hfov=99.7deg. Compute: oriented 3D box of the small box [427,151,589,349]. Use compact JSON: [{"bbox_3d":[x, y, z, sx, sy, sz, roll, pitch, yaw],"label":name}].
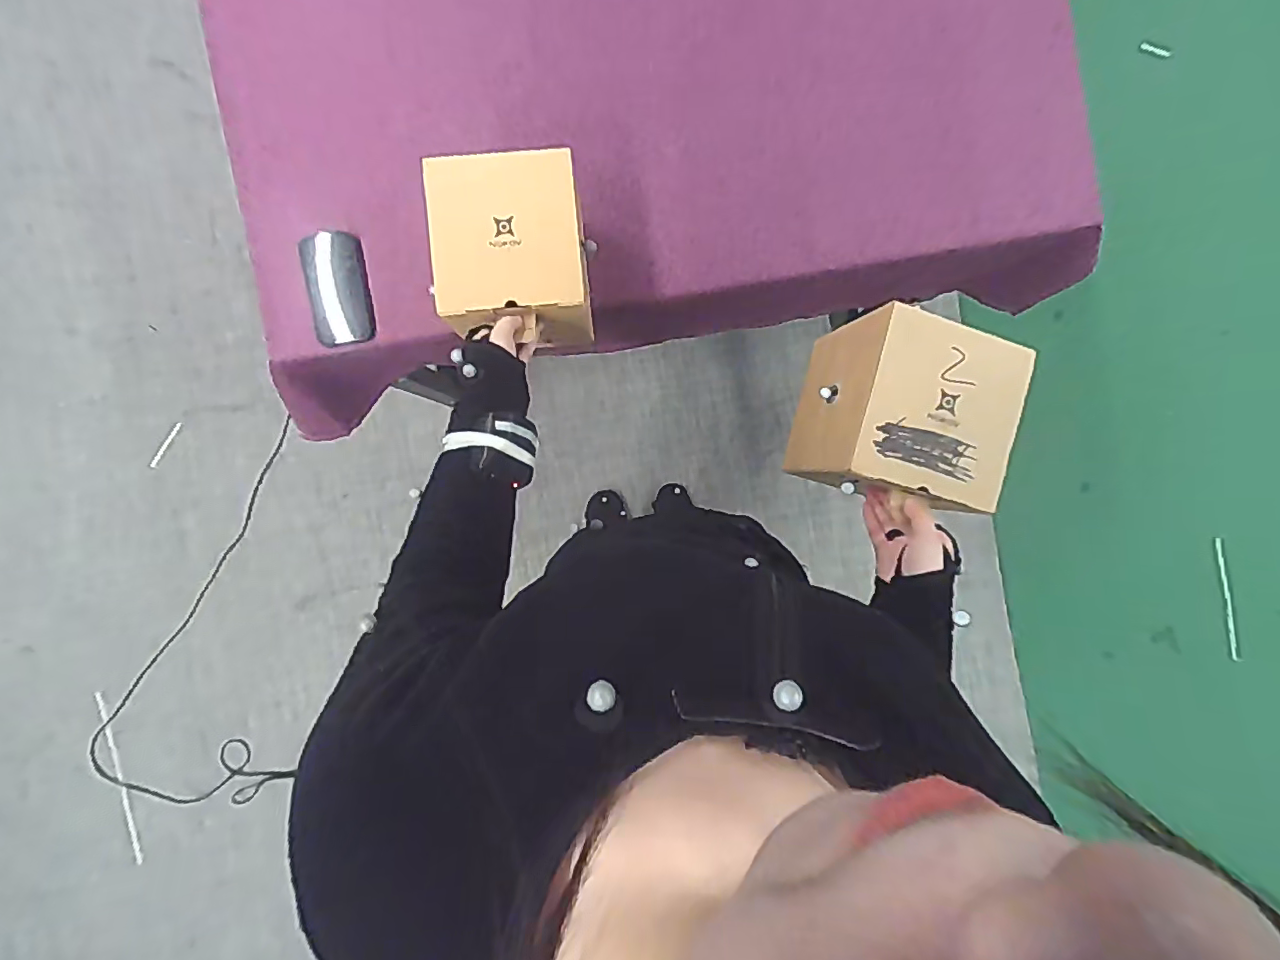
[{"bbox_3d":[-0.155,-0.278,0.684,0.168,0.176,0.179,-5,90,-3],"label":"small box"}]
